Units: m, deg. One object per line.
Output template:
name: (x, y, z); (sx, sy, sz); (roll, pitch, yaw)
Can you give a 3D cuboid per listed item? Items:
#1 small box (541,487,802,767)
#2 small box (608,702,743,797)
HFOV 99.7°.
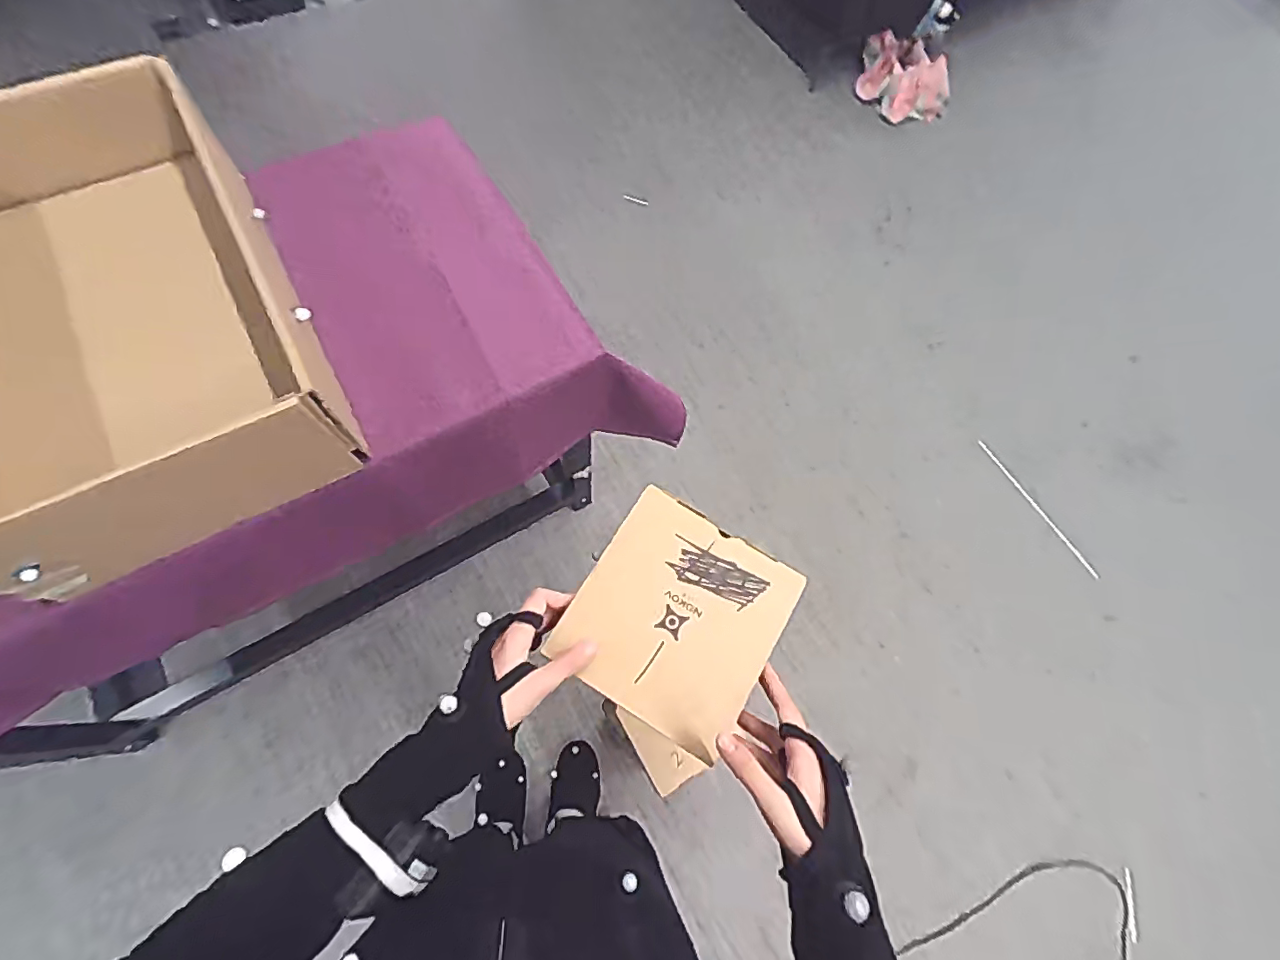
small box: (0.025, 0.139, 0.530); (0.168, 0.176, 0.179); (31, 73, 7)
small box: (0.050, 0.418, 0.950); (0.168, 0.176, 0.179); (-27, 72, -14)
